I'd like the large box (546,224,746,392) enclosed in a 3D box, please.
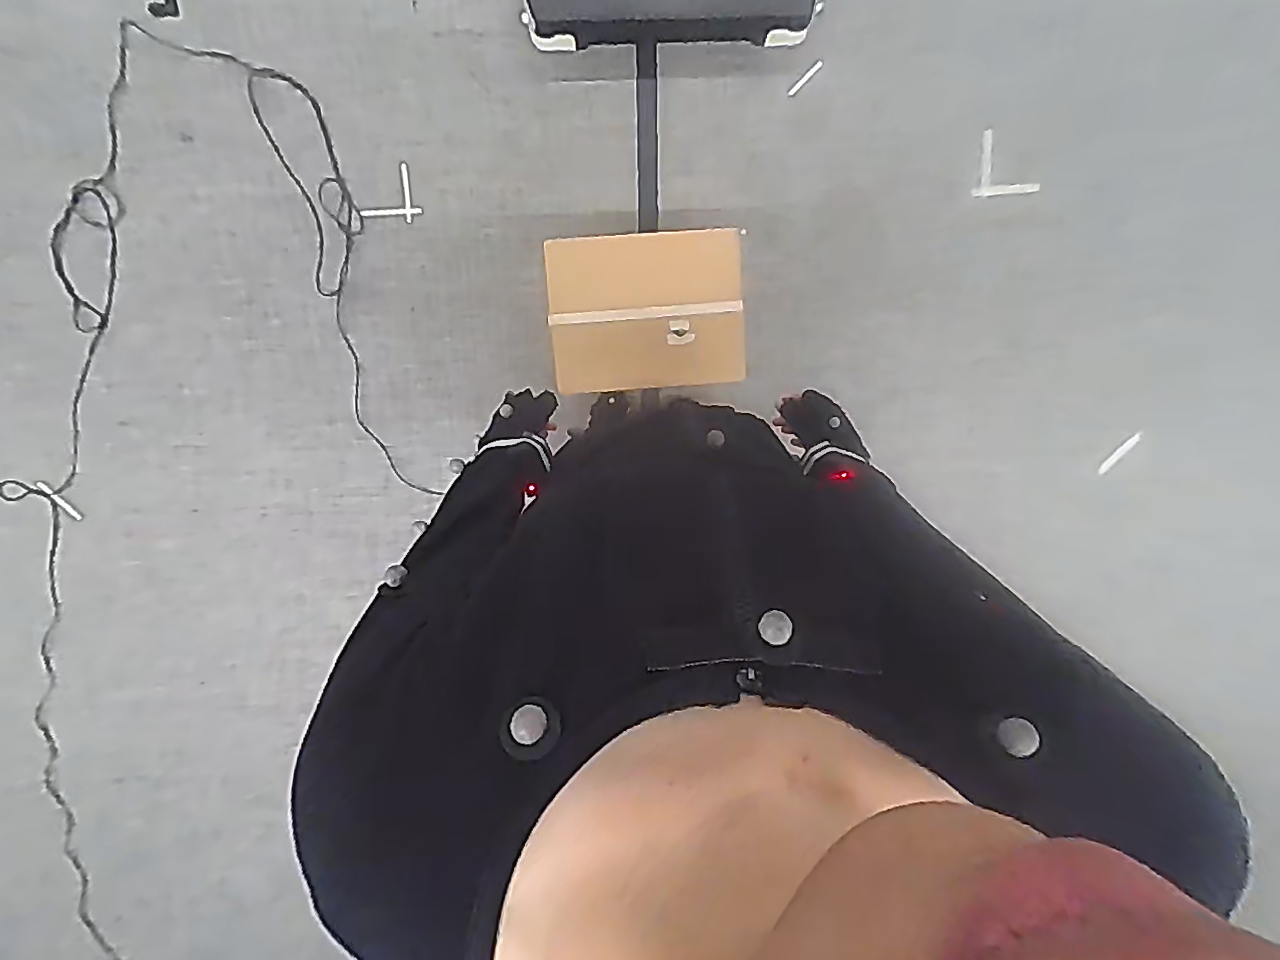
[{"bbox_3d":[0.011,-0.382,1.278,0.408,0.320,0.320,-5,100,-2],"label":"large box"}]
